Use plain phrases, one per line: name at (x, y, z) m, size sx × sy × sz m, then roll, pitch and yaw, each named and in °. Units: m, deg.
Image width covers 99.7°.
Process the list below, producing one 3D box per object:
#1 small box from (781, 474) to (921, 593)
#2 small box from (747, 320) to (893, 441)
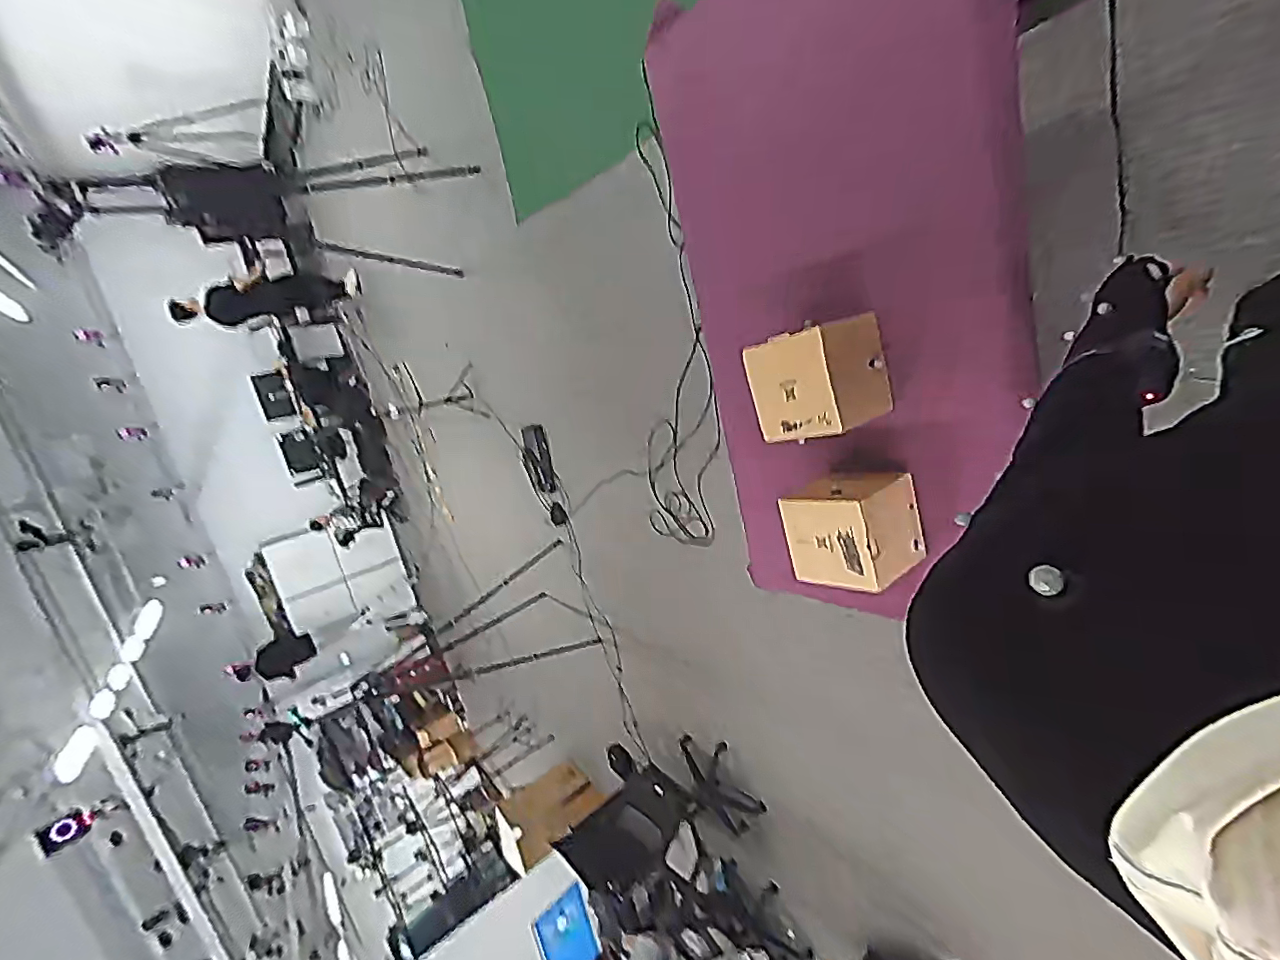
small box at (0.398, 0.090, 1.008) m, size 0.179 × 0.176 × 0.168 m, roll -2°, pitch 106°, yaw 55°
small box at (0.322, -0.179, 0.966) m, size 0.168 × 0.176 × 0.179 m, roll -3°, pitch 105°, yaw 55°
